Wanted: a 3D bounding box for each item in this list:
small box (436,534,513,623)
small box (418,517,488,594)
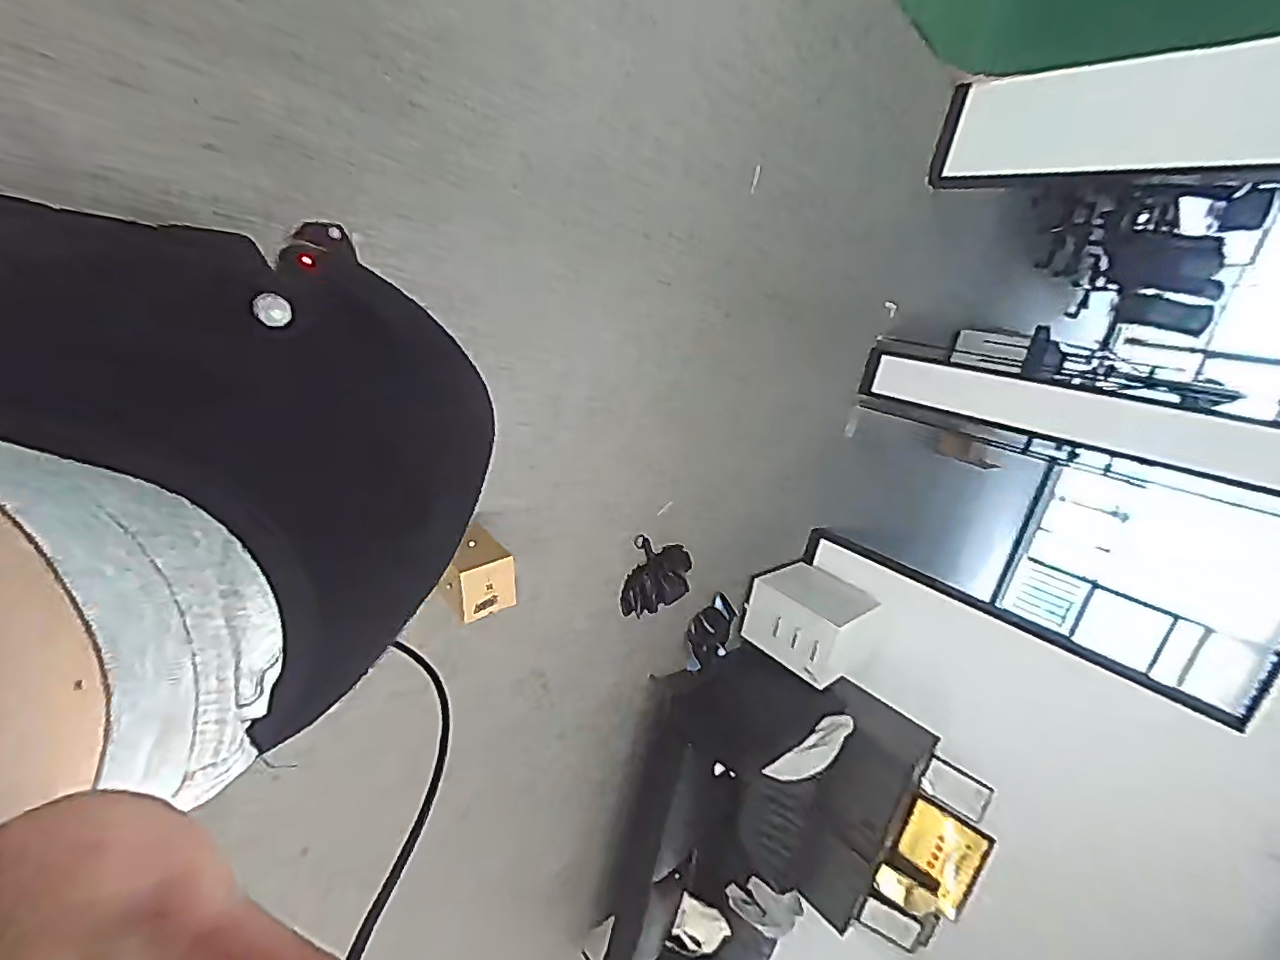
[{"bbox_3d":[-0.495,0.289,1.618,0.168,0.176,0.179,-17,120,-38],"label":"small box"},{"bbox_3d":[-0.597,0.234,1.734,0.168,0.176,0.179,-17,123,-37],"label":"small box"}]
